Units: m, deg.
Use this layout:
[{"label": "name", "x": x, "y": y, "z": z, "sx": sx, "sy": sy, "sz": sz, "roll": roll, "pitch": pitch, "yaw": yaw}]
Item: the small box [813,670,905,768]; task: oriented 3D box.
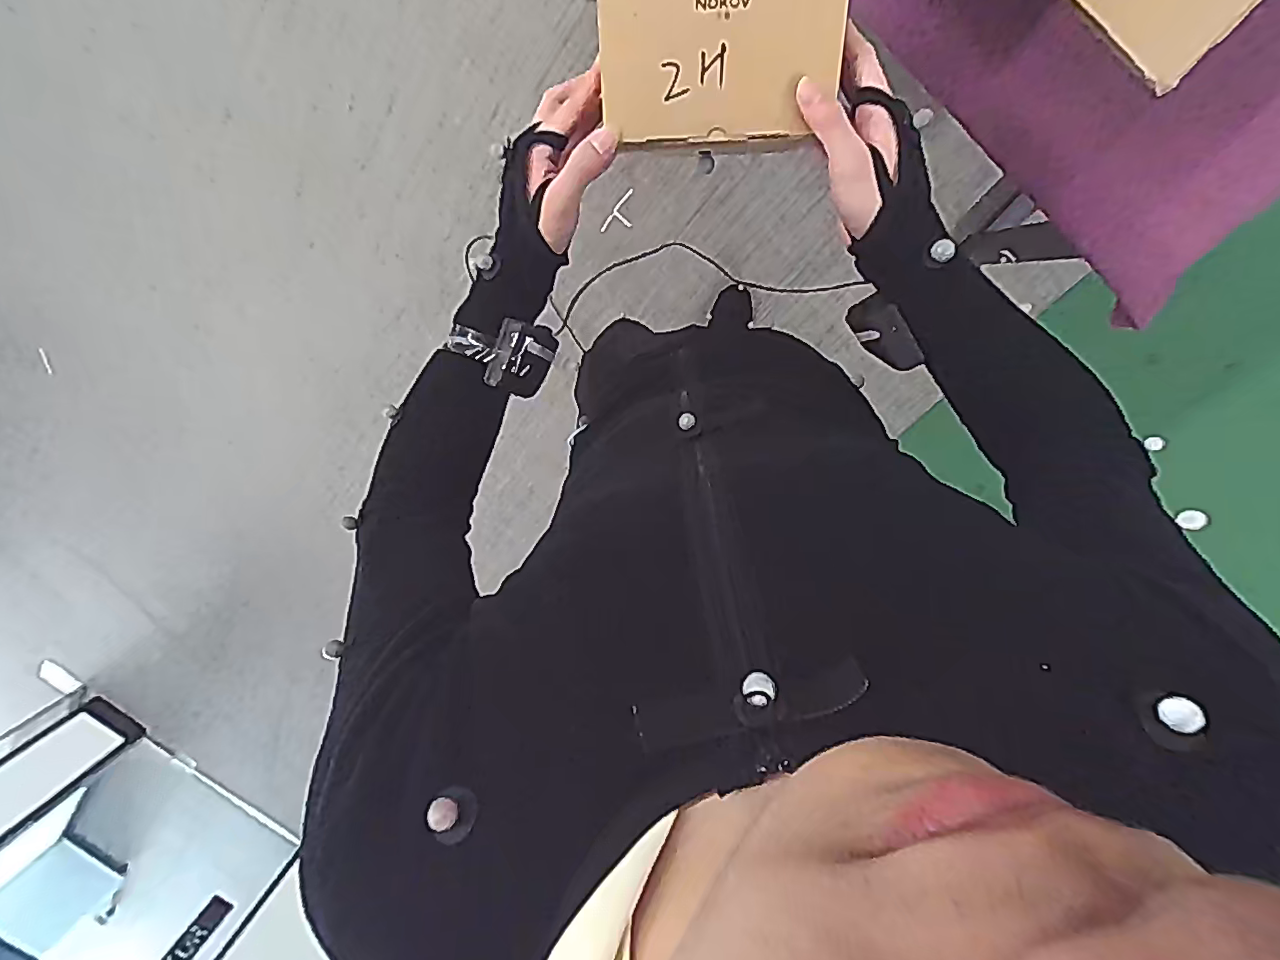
[{"label": "small box", "x": 0.626, "y": 0.684, "z": 1.572, "sx": 0.179, "sy": 0.176, "sz": 0.168, "roll": 44, "pitch": 113, "yaw": -7}]

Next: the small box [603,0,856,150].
[{"label": "small box", "x": 0.061, "y": -0.361, "z": 0.411, "sx": 0.168, "sy": 0.176, "sz": 0.179, "roll": 1, "pitch": 118, "yaw": 4}]
